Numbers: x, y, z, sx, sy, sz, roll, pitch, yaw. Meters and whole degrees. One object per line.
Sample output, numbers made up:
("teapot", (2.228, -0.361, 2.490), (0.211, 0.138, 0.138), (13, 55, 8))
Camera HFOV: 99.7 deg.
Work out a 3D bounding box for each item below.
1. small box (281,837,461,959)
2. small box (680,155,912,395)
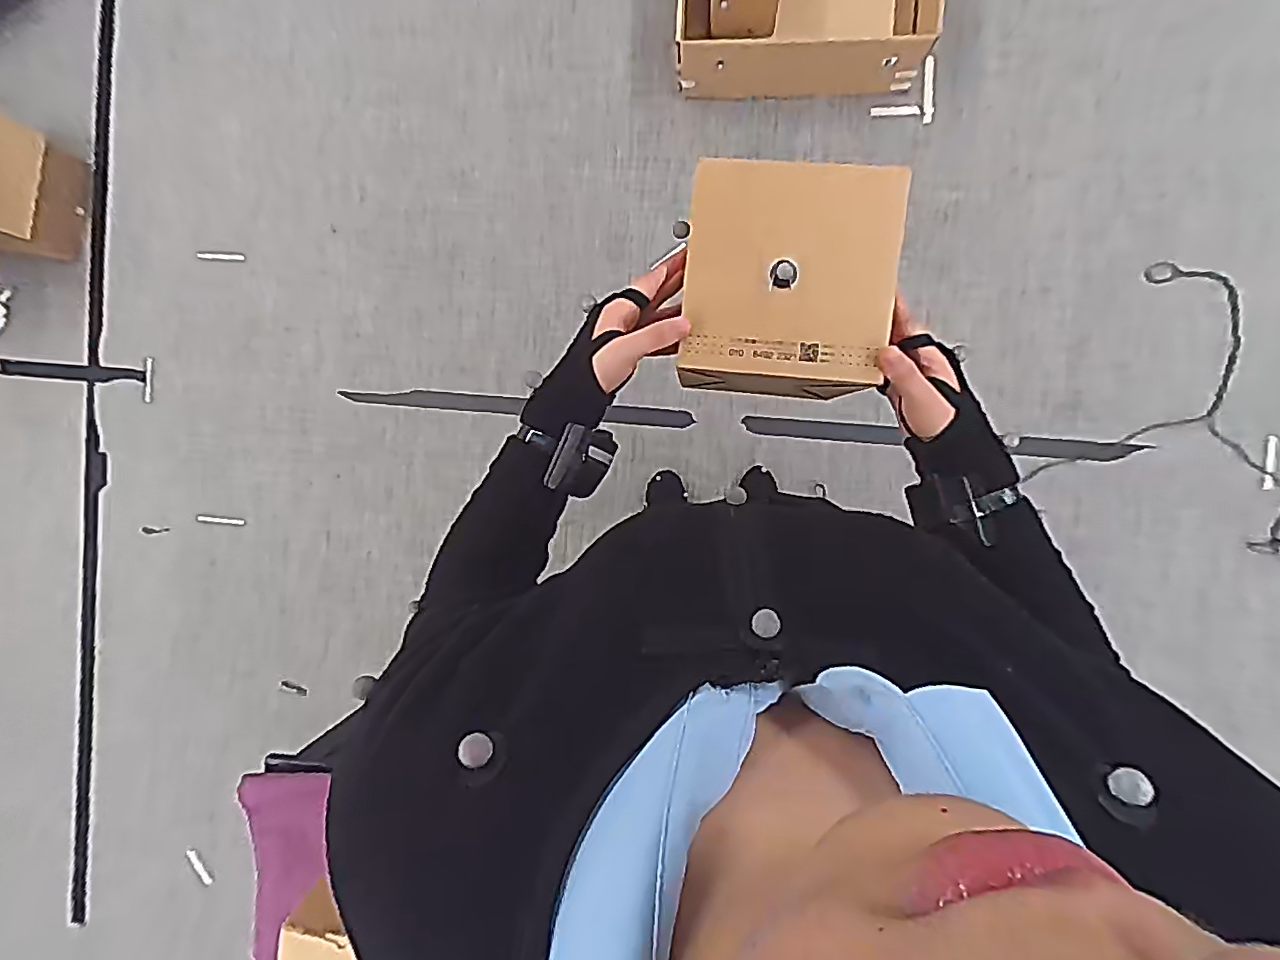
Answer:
("small box", (-0.366, 0.649, 0.752), (0.168, 0.176, 0.179), (8, 93, 5))
("small box", (0.130, -0.172, 0.506), (0.168, 0.179, 0.176), (7, 96, 6))
